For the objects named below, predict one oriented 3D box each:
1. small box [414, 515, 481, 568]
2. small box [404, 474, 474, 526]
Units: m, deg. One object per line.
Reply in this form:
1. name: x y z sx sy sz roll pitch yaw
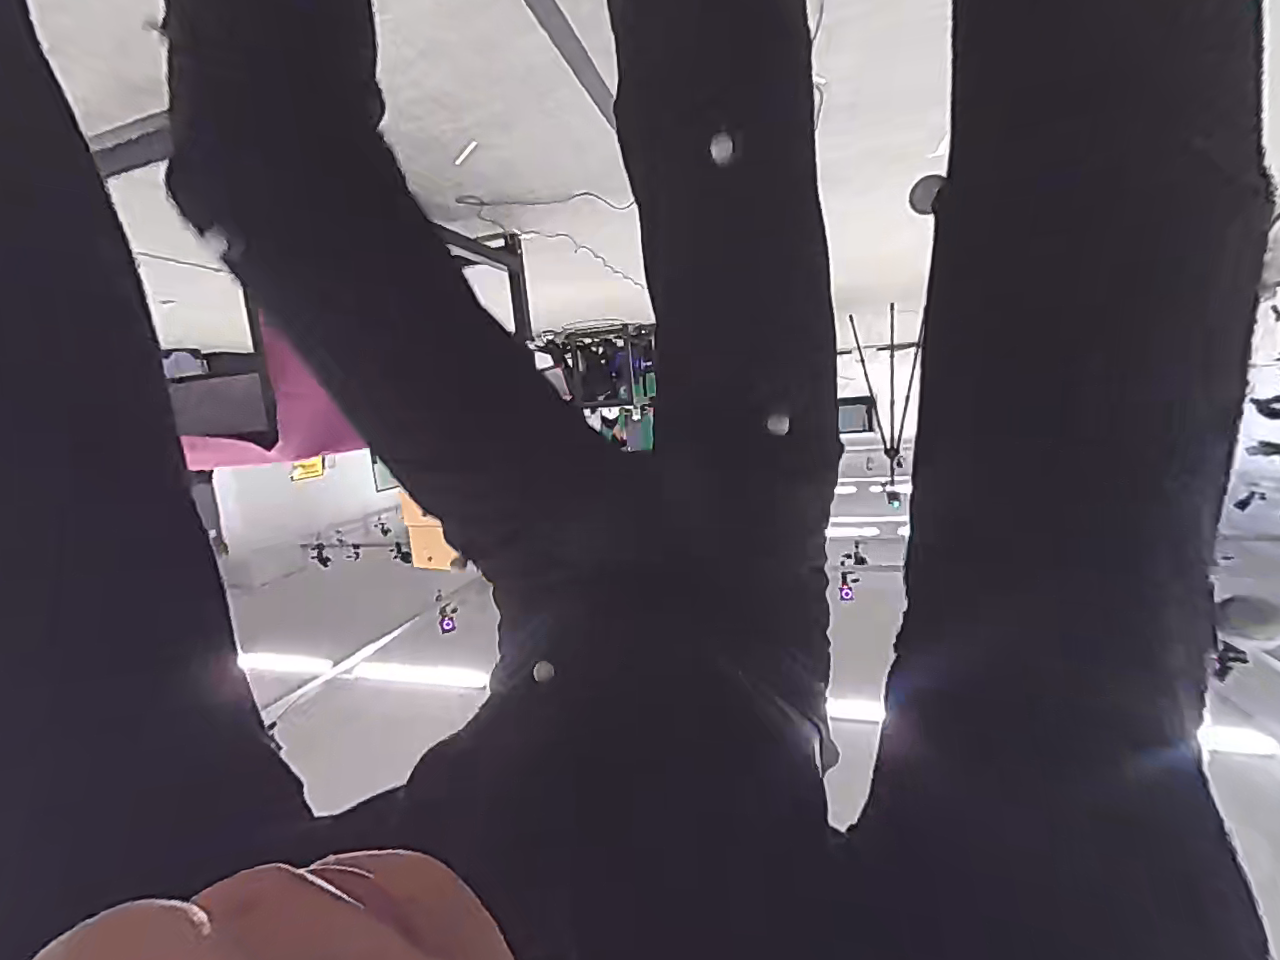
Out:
1. small box: -0.733 0.224 2.052 0.179 0.176 0.168 -1 -171 25
2. small box: -0.749 0.066 2.012 0.179 0.176 0.168 -1 -170 21
